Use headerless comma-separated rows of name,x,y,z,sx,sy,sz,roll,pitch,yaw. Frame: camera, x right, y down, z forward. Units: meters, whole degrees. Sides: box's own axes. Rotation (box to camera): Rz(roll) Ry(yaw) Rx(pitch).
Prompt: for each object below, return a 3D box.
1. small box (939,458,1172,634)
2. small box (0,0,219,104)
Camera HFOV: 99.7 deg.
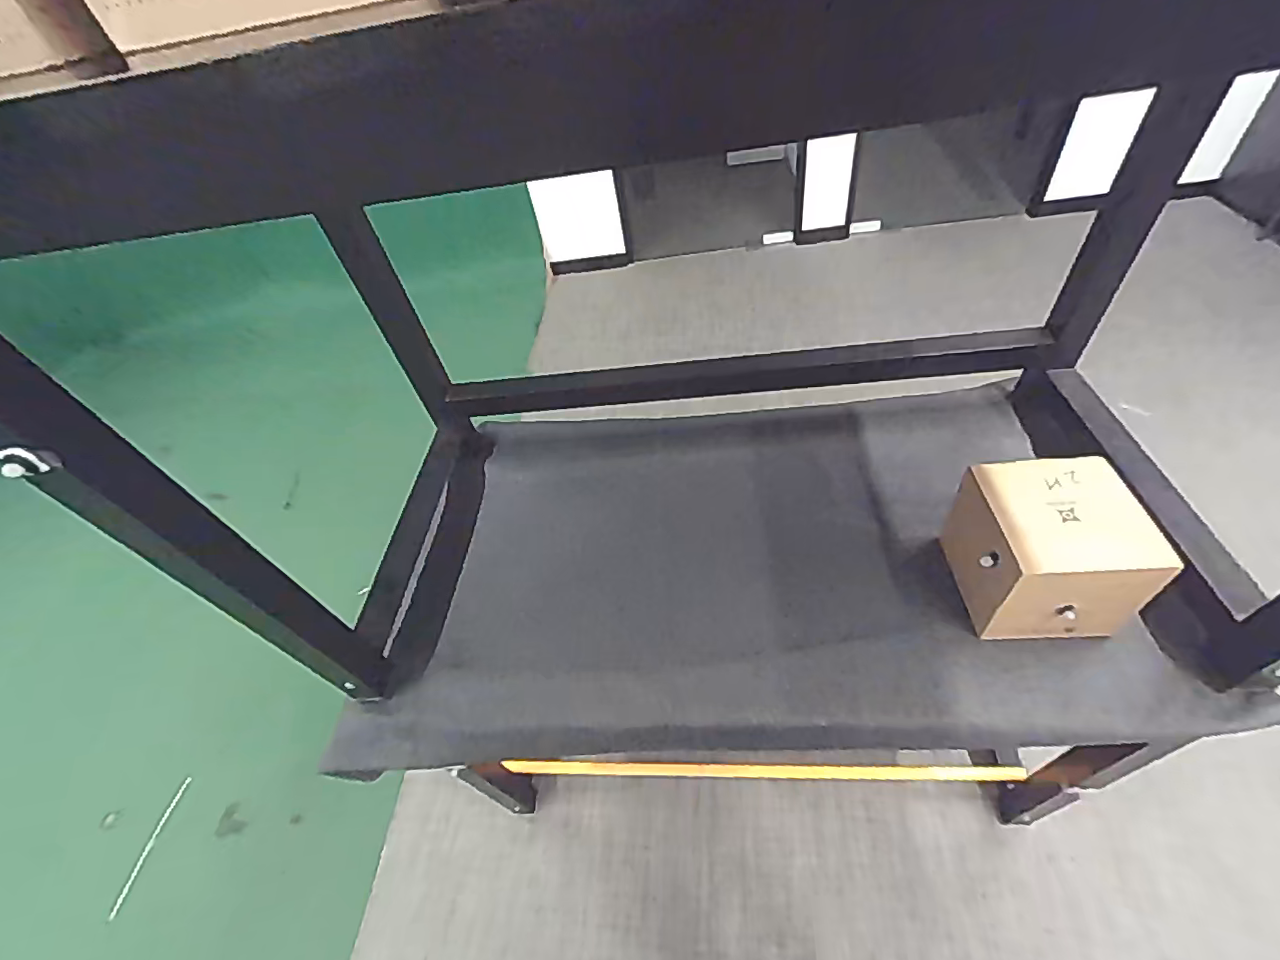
small box,0.530,0.094,0.725,0.168,0.176,0.179,-4,47,8
small box,-0.382,-0.316,0.287,0.168,0.176,0.179,-4,49,7
